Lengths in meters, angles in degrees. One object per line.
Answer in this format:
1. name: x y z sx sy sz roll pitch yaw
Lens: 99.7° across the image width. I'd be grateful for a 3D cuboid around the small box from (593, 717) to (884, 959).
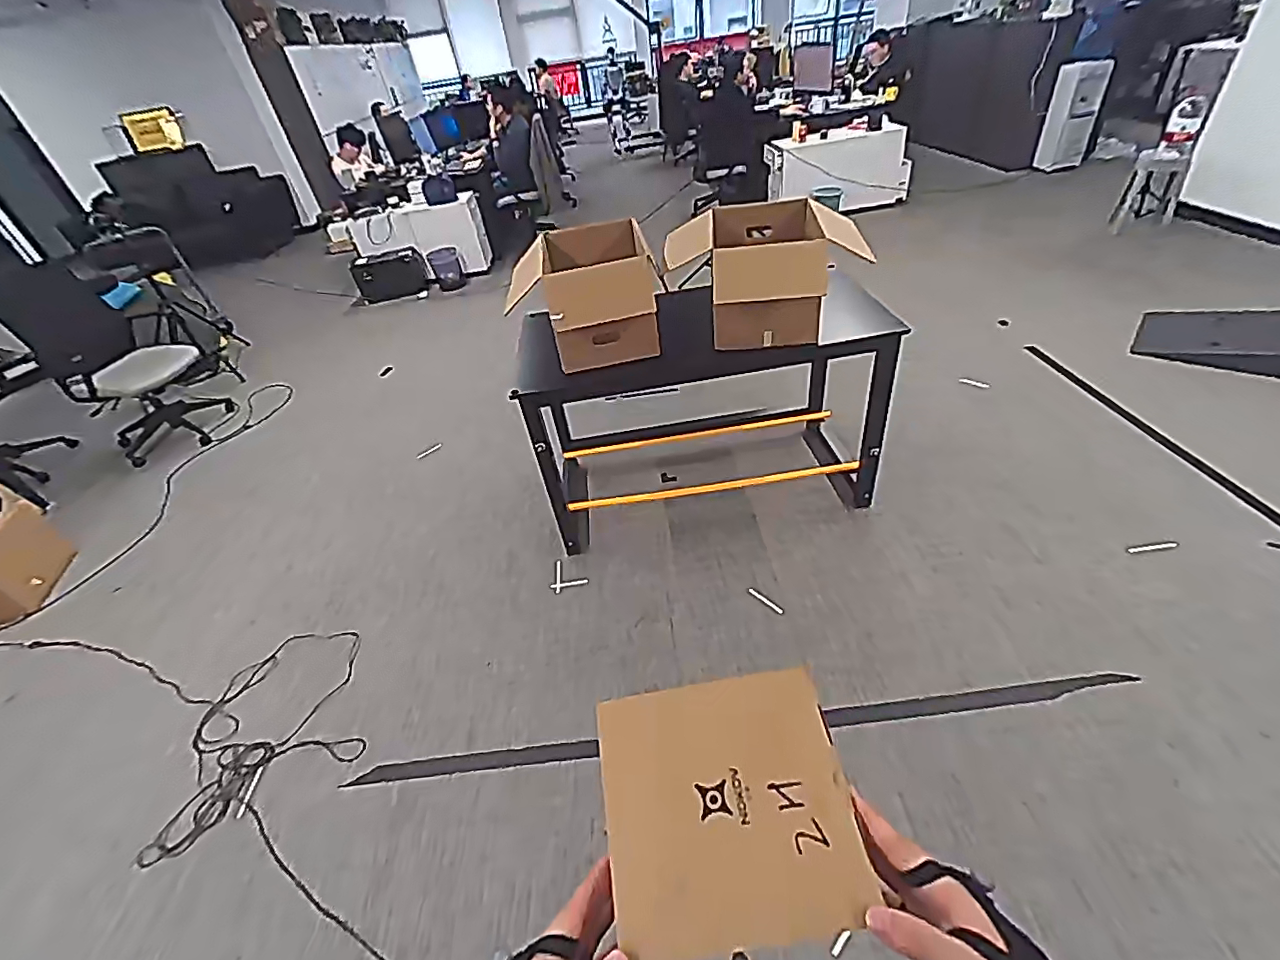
1. small box: 0.066 0.310 0.437 0.179 0.176 0.168 -9 53 0
